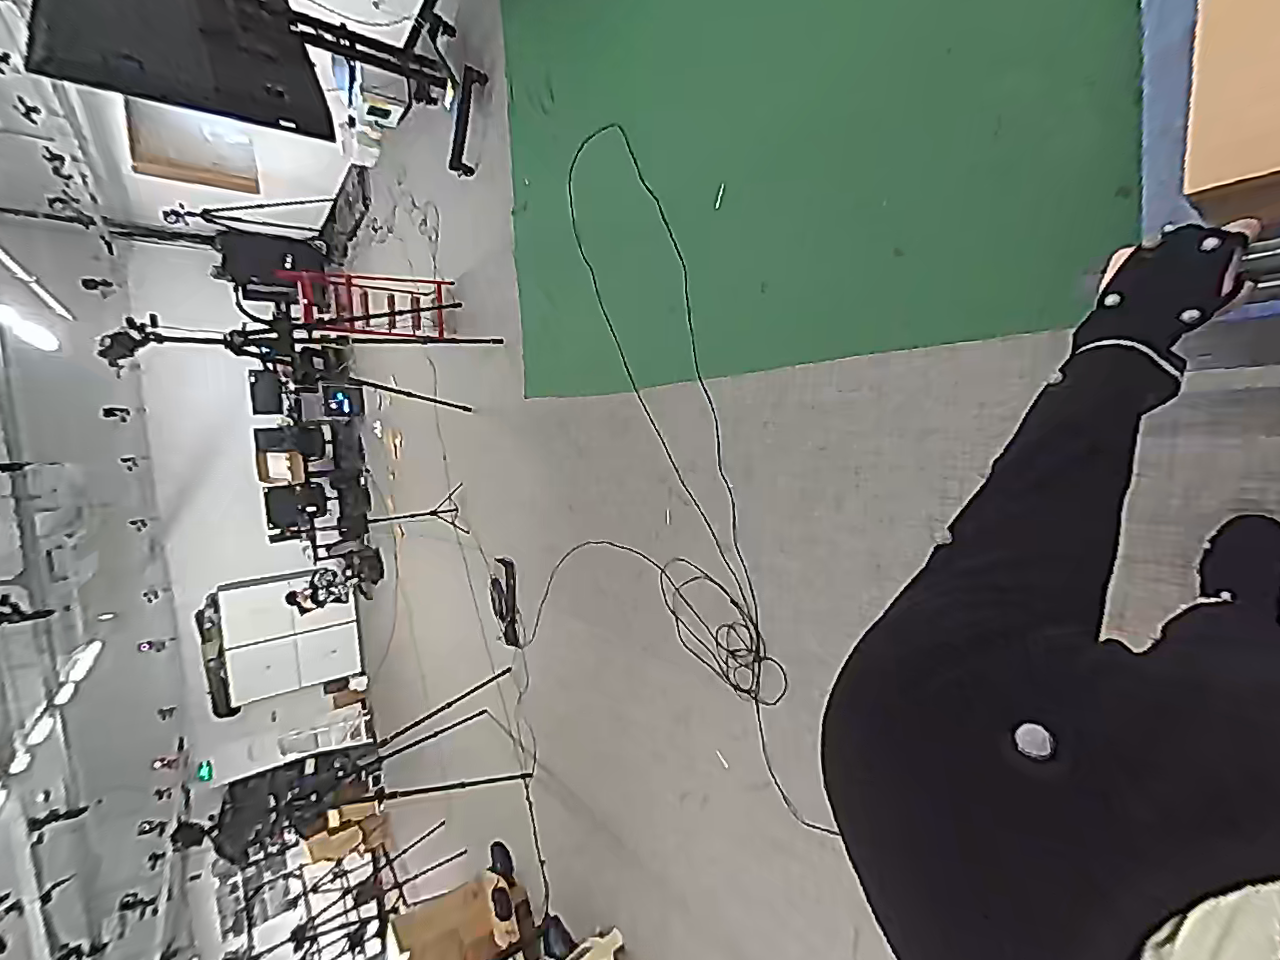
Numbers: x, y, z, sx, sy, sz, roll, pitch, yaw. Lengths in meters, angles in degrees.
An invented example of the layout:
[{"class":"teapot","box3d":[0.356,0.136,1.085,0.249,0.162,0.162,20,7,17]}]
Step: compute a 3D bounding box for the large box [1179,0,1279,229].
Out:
[{"class":"large box","box3d":[0.994,-0.621,0.738,0.320,0.320,0.408,6,100,52]}]
